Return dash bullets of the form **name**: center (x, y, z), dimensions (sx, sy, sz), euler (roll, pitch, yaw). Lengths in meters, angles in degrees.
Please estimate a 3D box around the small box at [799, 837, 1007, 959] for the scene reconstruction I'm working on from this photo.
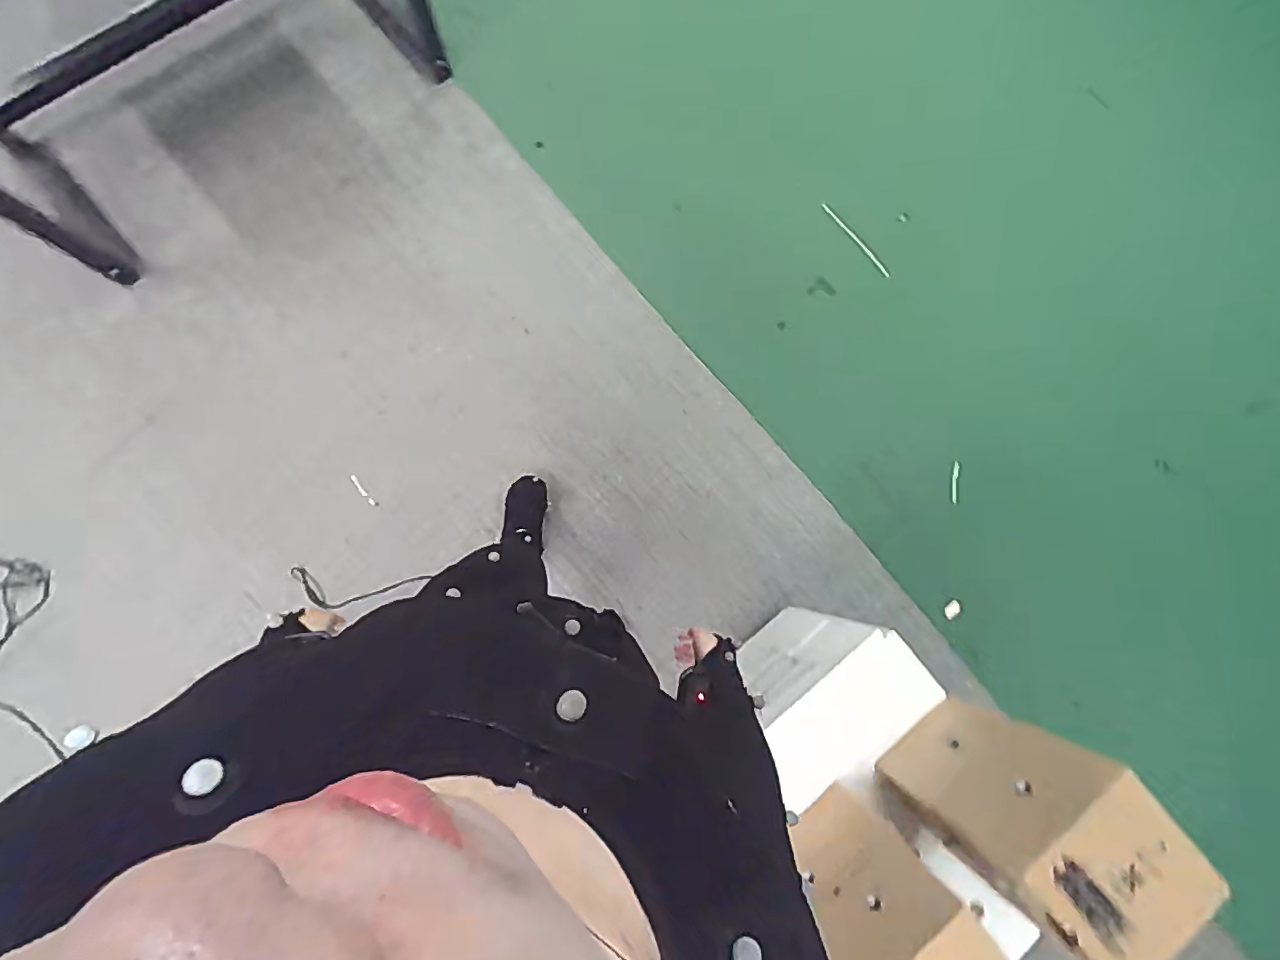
- **small box**: center (0.322, 0.571, 0.643), dimensions (0.168, 0.176, 0.179), euler (-36, 86, -7)

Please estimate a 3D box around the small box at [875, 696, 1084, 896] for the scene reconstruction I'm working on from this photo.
- **small box**: center (0.507, 0.467, 0.835), dimensions (0.179, 0.176, 0.168), euler (-38, 86, -6)
